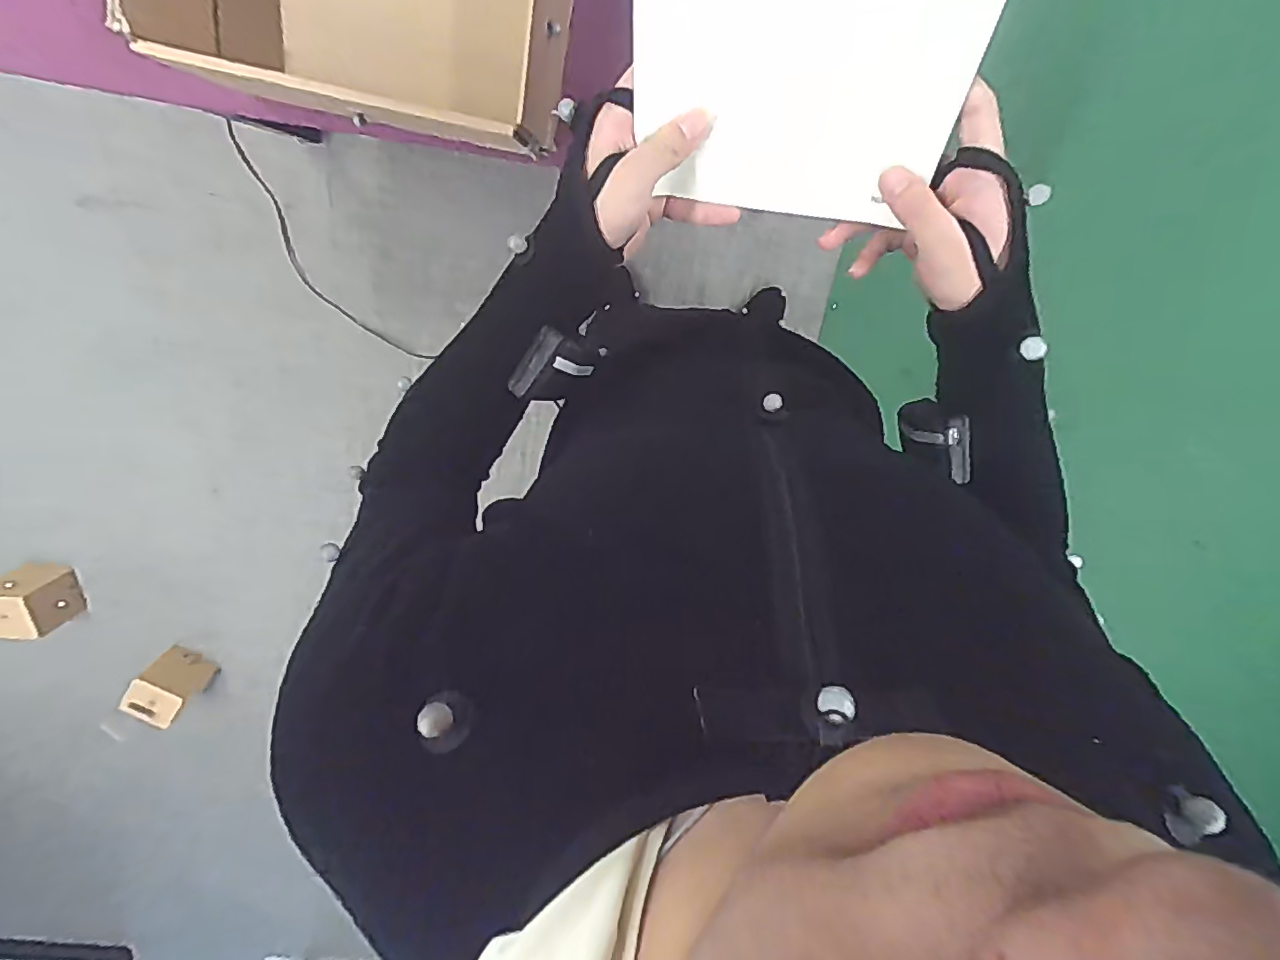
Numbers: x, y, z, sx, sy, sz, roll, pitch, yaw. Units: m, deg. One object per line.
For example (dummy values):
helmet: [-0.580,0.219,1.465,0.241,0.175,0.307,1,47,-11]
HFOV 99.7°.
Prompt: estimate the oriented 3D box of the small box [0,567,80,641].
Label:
small box: [-1.978,0.396,1.743,0.179,0.176,0.168,5,112,-3]
